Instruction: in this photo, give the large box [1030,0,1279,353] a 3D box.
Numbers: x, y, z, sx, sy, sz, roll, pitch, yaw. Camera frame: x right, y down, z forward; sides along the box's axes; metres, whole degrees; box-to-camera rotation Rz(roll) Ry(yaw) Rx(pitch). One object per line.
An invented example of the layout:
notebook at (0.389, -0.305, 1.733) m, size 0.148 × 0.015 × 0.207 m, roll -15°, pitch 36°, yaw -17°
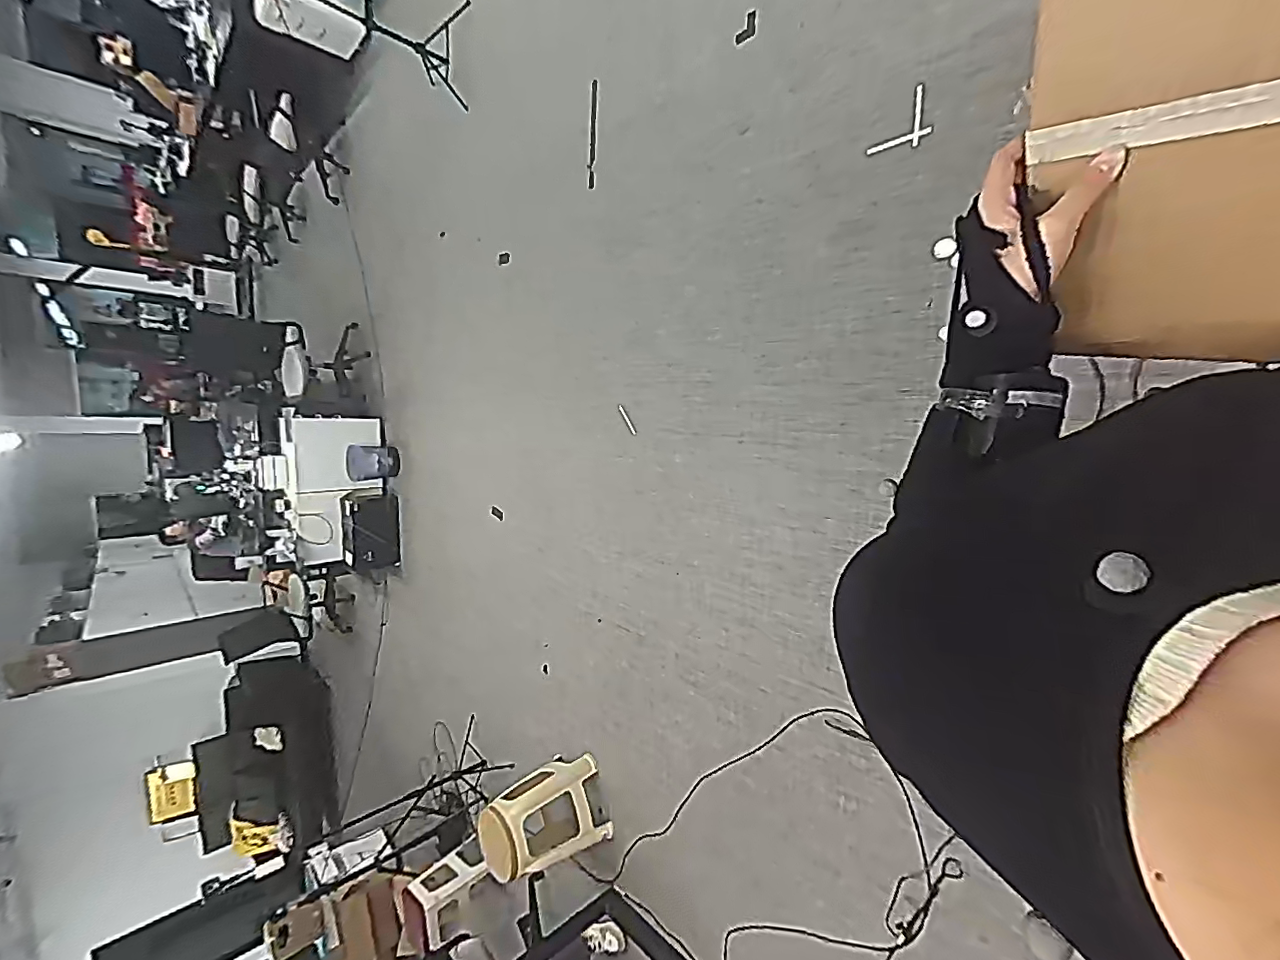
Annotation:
large box at (0.505, -0.281, 0.306) m, size 0.408 × 0.320 × 0.320 m, roll 16°, pitch 139°, yaw 45°
